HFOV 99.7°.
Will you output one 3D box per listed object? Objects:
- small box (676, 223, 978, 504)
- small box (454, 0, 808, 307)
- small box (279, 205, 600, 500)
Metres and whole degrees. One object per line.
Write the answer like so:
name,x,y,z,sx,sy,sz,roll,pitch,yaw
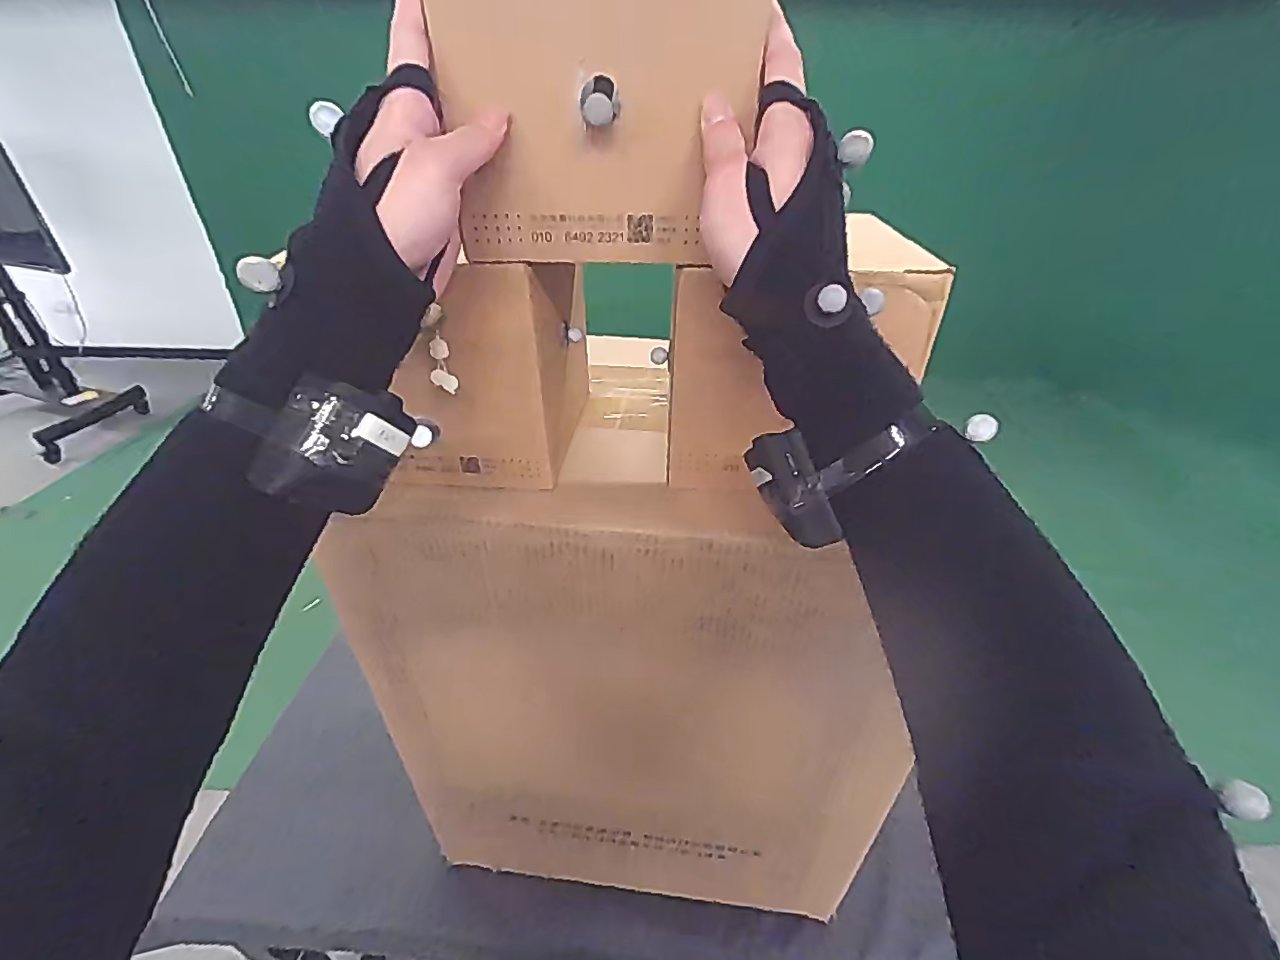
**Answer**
small box,0.119,-0.096,0.430,0.168,0.176,0.179,3,36,-1
small box,-0.003,-0.218,0.343,0.168,0.176,0.179,-1,37,-2
small box,-0.127,-0.107,0.427,0.168,0.176,0.179,4,37,6
